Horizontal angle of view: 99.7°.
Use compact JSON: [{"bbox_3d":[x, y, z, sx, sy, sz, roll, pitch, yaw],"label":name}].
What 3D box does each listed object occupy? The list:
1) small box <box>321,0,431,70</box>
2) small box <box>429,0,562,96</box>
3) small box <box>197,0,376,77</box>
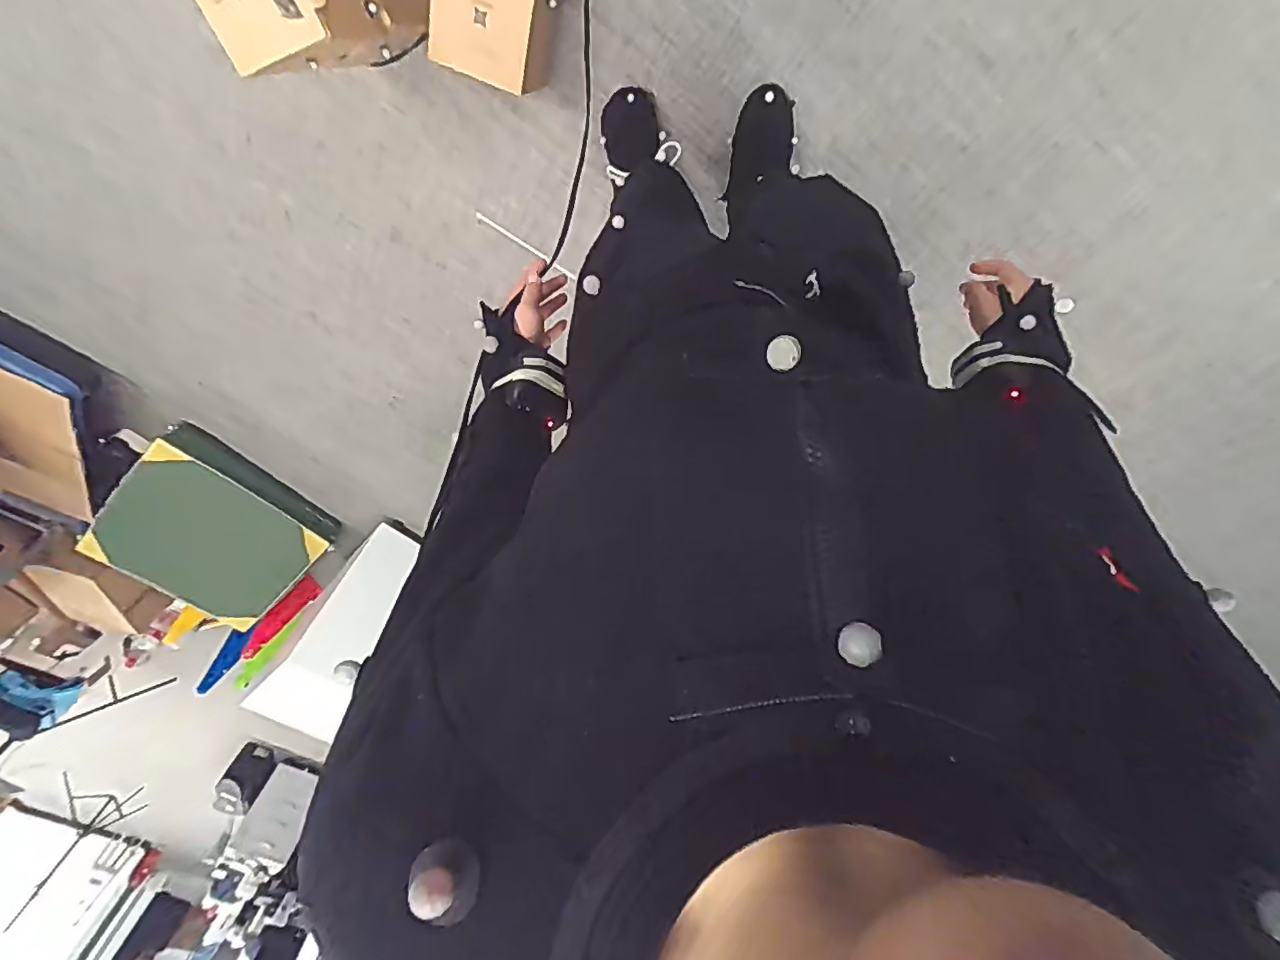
[{"bbox_3d":[-0.493,-0.842,0.921,0.168,0.176,0.179,-11,127,21],"label":"small box"},{"bbox_3d":[-0.239,-0.792,0.918,0.168,0.176,0.179,19,132,-5],"label":"small box"},{"bbox_3d":[-0.528,-0.730,0.803,0.179,0.176,0.168,-7,128,18],"label":"small box"}]
